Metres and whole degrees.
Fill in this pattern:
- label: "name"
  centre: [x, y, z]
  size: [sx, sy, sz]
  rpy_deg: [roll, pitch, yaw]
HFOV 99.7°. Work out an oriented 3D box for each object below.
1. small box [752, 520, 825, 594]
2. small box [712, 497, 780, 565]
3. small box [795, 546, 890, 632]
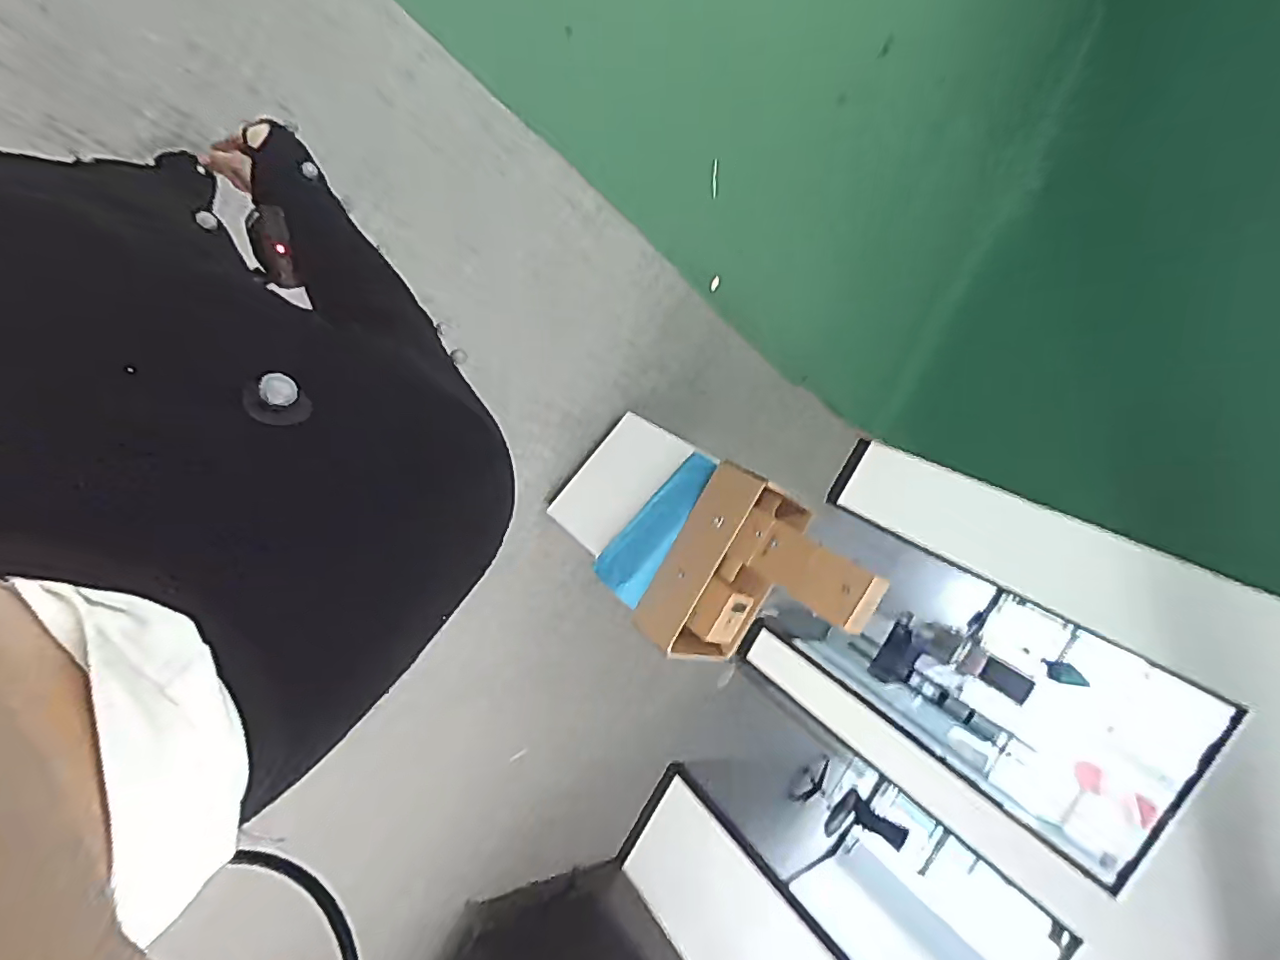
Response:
- label: "small box"
  centre: [0.477, 0.242, 1.659]
  size: [0.179, 0.176, 0.168]
  rpy_deg: [24, 98, -49]
- label: "small box"
  centre: [0.370, 0.173, 1.761]
  size: [0.179, 0.176, 0.168]
  rpy_deg: [24, 97, -49]
- label: "small box"
  centre: [0.578, 0.309, 1.547]
  size: [0.168, 0.176, 0.179]
  rpy_deg: [25, 97, -49]
